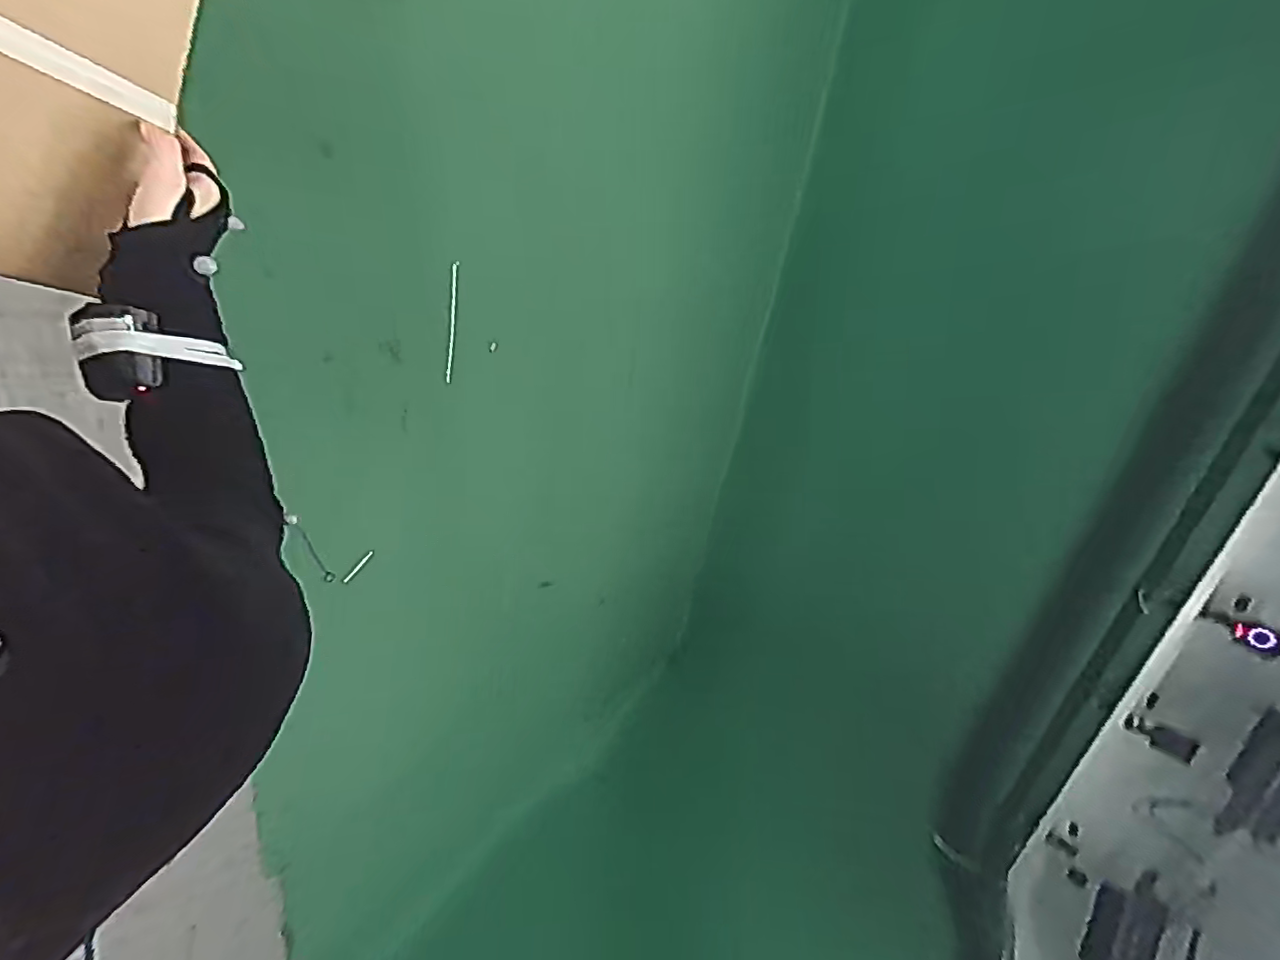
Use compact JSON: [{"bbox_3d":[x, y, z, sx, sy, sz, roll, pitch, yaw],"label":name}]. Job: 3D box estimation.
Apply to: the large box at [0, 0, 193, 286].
[{"bbox_3d":[-0.594,-0.361,0.329,0.408,0.320,0.320,0,115,-62],"label":"large box"}]
